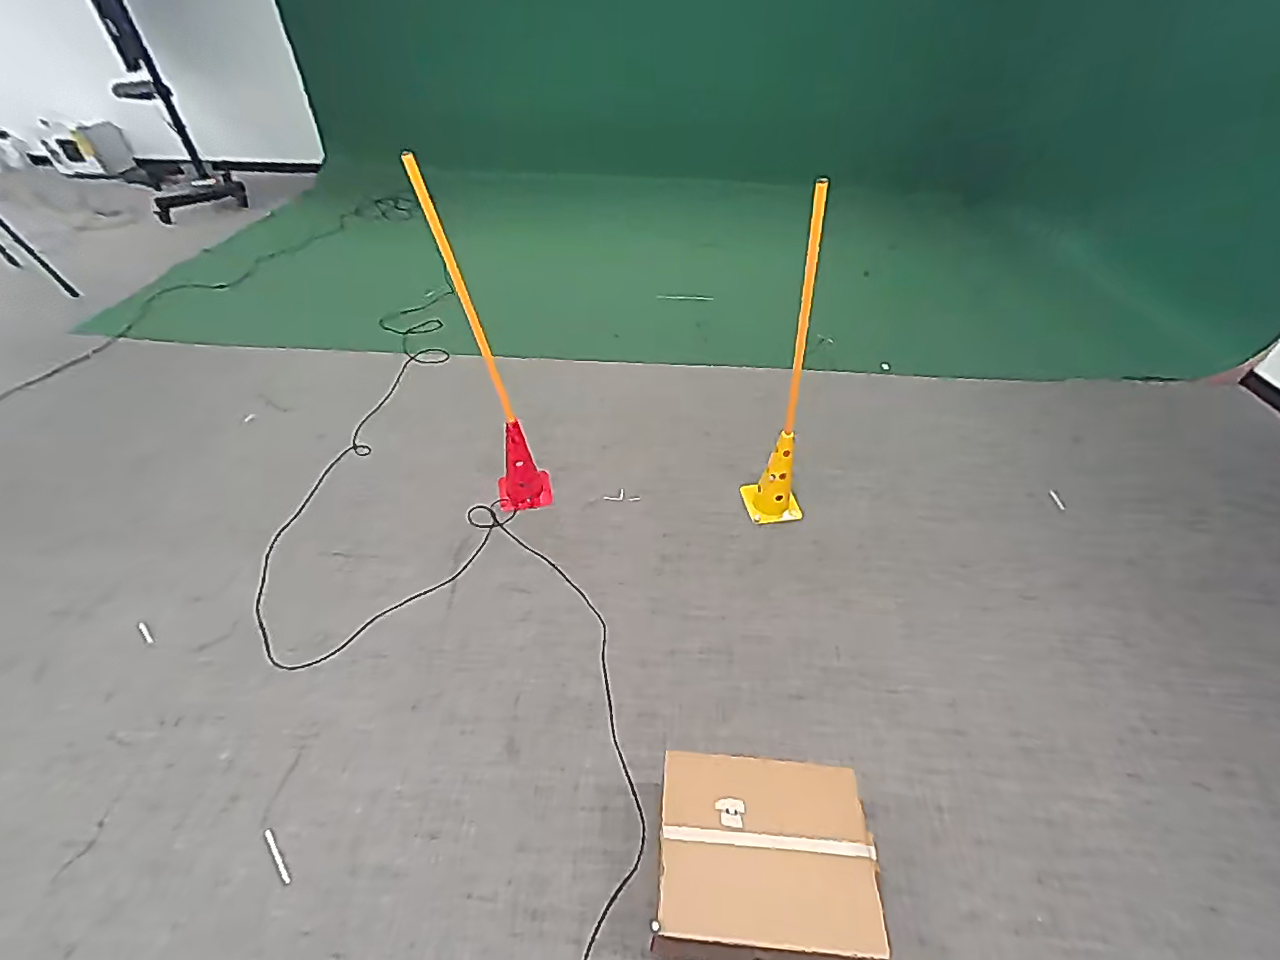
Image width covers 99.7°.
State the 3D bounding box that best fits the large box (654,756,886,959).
[{"bbox_3d":[0.240,0.817,1.151,0.408,0.320,0.320,3,43,3],"label":"large box"}]
